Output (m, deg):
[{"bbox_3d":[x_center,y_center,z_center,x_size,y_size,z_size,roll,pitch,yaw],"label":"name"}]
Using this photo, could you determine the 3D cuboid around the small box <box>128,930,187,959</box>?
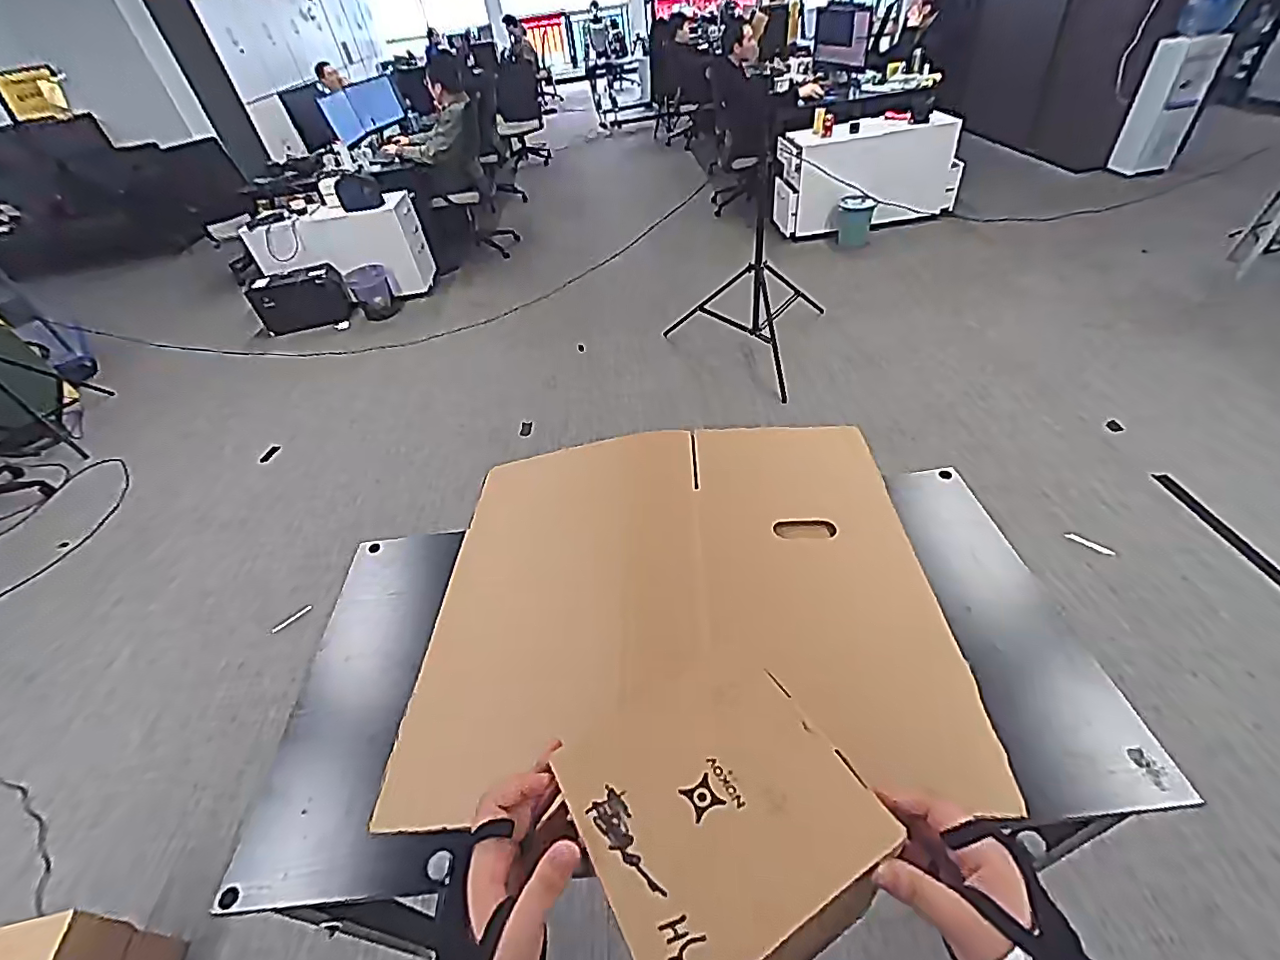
[{"bbox_3d":[-1.119,1.089,1.142,0.168,0.176,0.179,-10,43,-1],"label":"small box"}]

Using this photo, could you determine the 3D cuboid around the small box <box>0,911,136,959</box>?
[{"bbox_3d":[-1.139,0.967,1.036,0.168,0.176,0.179,-12,42,-4],"label":"small box"}]
